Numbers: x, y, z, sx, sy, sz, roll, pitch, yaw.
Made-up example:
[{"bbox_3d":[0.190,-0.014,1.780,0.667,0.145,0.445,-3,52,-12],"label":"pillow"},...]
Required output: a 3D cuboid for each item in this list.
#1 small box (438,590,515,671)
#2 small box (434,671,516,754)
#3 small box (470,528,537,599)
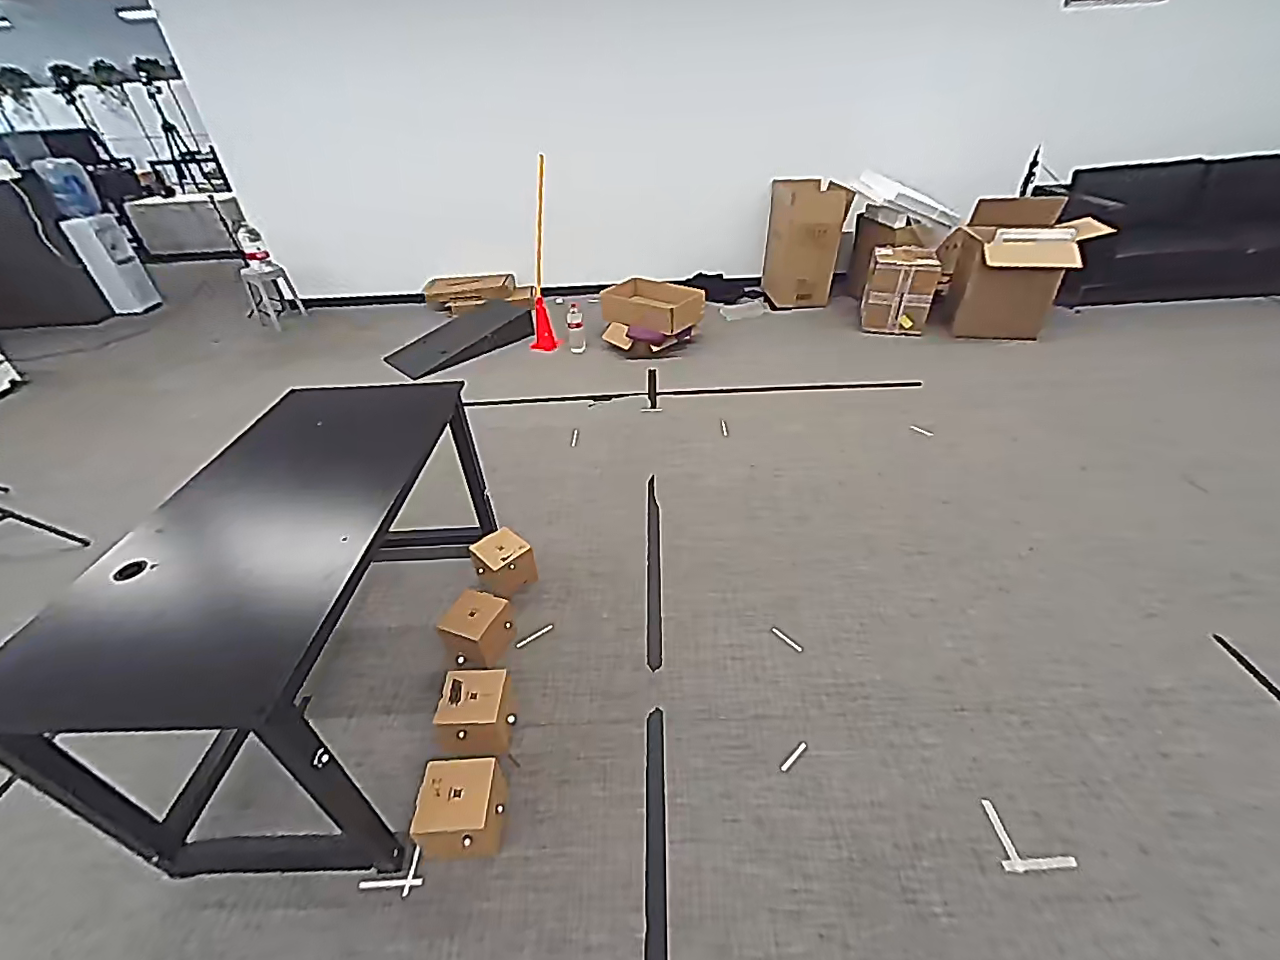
[{"bbox_3d":[-0.538,0.504,1.810,0.168,0.176,0.179,10,40,19],"label":"small box"},{"bbox_3d":[-0.472,0.677,1.572,0.179,0.176,0.168,-2,37,0],"label":"small box"},{"bbox_3d":[-0.515,0.319,2.049,0.179,0.176,0.168,28,47,35],"label":"small box"}]
